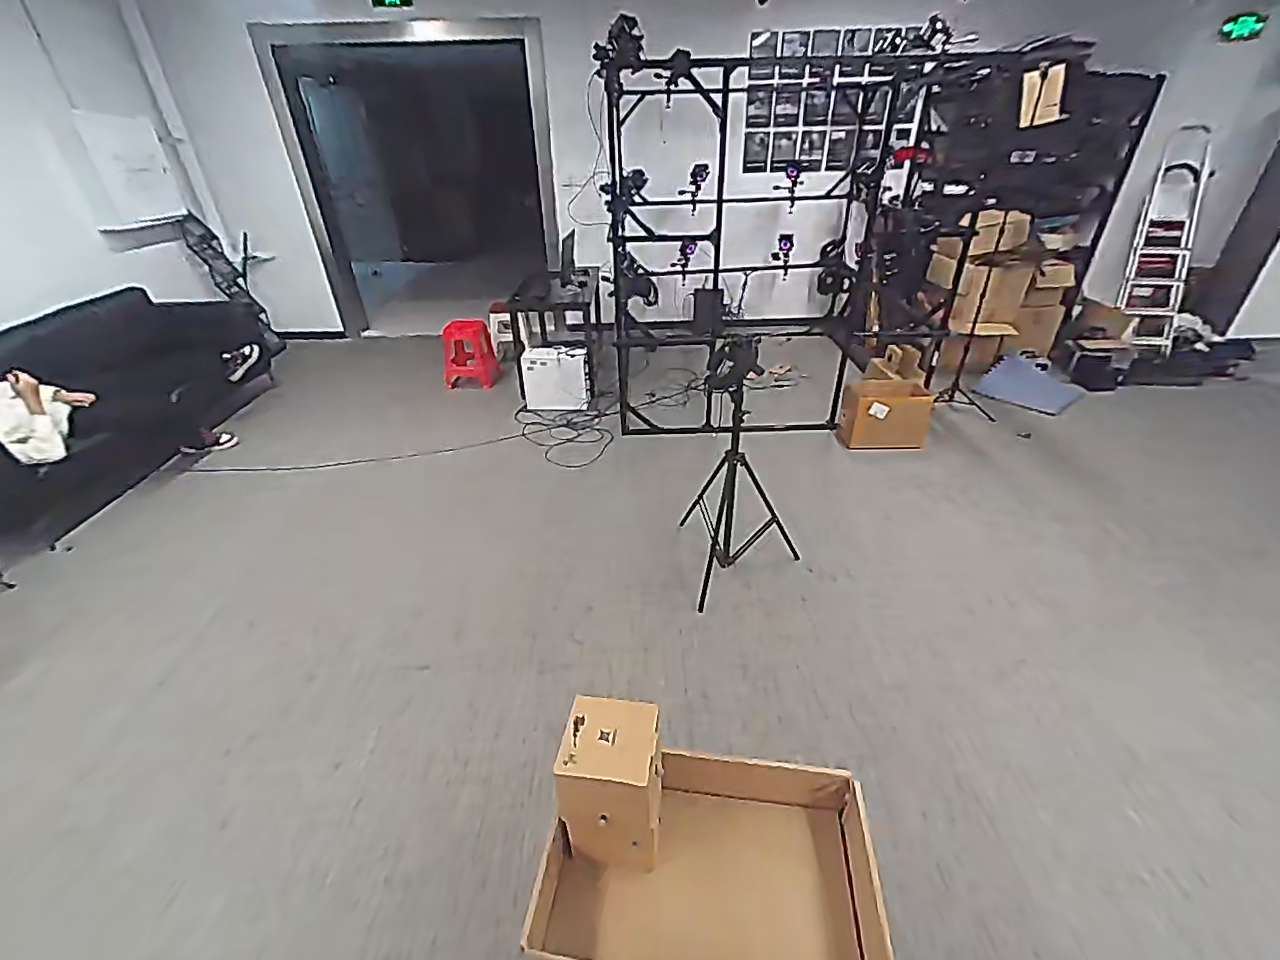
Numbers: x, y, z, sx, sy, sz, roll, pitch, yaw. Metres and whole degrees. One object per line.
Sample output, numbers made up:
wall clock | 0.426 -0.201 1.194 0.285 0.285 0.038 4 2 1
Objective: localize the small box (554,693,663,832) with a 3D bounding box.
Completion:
small box | -0.053 0.546 1.047 0.179 0.176 0.168 4 32 9
